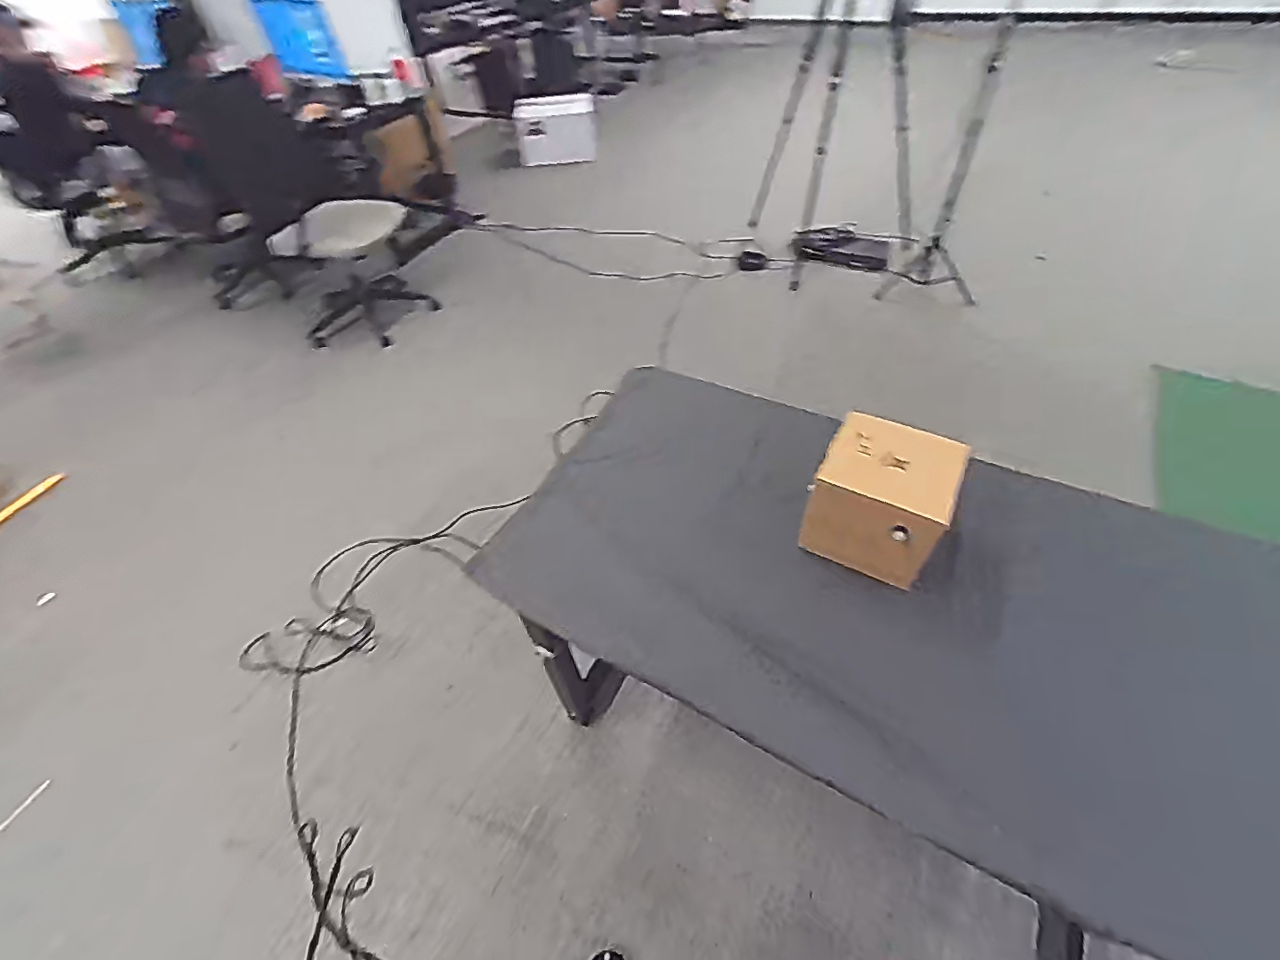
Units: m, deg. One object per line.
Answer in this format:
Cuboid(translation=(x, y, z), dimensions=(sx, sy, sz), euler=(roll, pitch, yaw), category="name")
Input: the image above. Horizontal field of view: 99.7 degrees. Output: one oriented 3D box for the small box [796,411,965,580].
Cuboid(translation=(0.359, 0.028, 0.828), dimensions=(0.179, 0.176, 0.168), euler=(22, 53, 23), category="small box")
